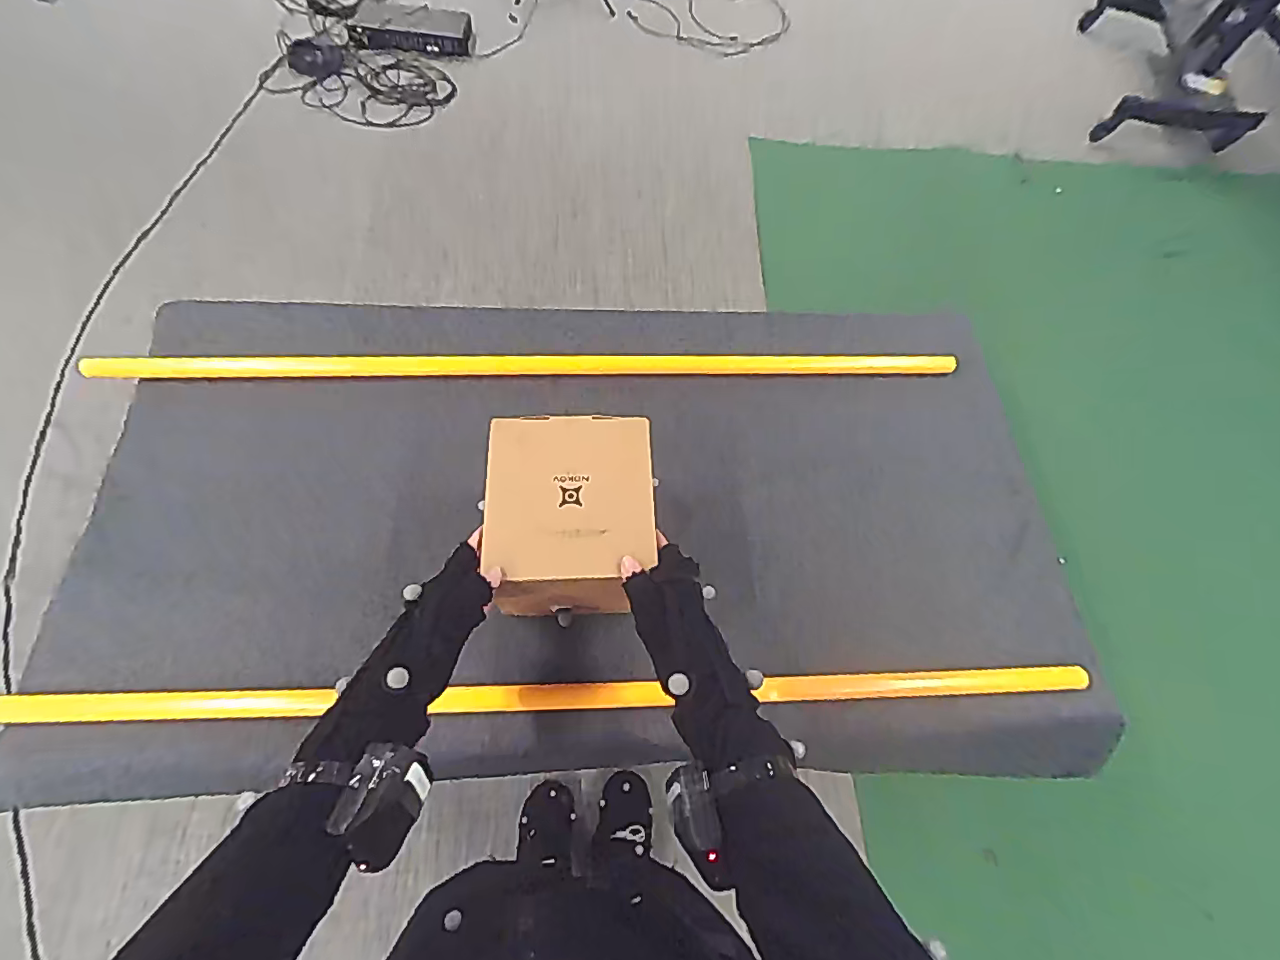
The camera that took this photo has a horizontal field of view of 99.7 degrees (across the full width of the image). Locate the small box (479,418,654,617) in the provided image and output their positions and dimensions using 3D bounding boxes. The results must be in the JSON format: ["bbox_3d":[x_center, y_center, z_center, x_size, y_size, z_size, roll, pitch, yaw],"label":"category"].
[{"bbox_3d":[-0.078,0.048,0.609,0.168,0.176,0.179,-2,66,-5],"label":"small box"}]
